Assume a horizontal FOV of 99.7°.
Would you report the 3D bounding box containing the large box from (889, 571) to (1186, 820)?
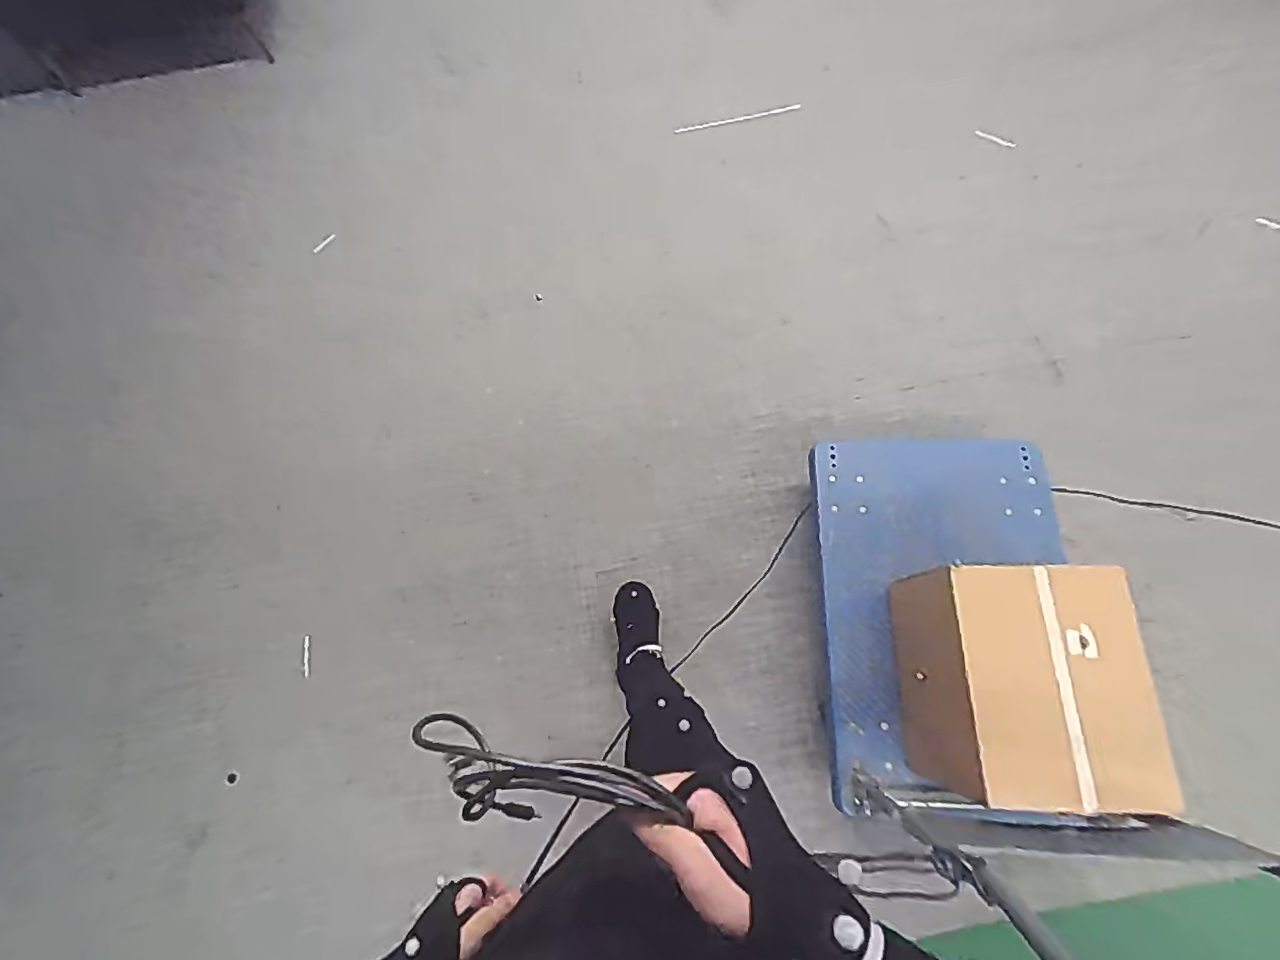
[{"bbox_3d":[0.727,0.405,1.070,0.320,0.320,0.408,0,71,3],"label":"large box"}]
